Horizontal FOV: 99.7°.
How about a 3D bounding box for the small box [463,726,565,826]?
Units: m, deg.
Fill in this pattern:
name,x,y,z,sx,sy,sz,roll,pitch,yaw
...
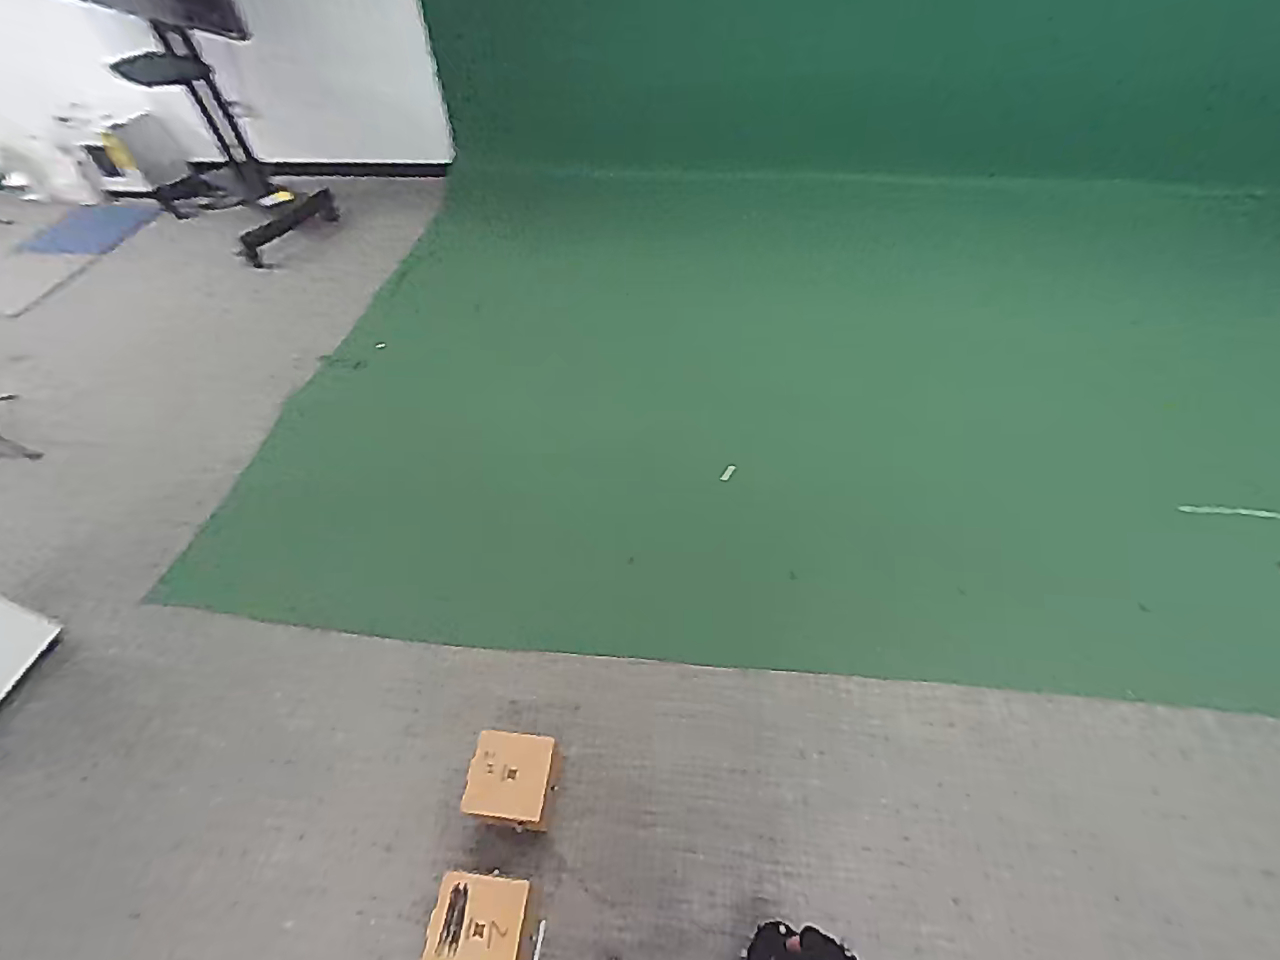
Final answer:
name,x,y,z,sx,sy,sz,roll,pitch,yaw
small box,-0.277,0.681,1.239,0.179,0.176,0.168,4,50,5
